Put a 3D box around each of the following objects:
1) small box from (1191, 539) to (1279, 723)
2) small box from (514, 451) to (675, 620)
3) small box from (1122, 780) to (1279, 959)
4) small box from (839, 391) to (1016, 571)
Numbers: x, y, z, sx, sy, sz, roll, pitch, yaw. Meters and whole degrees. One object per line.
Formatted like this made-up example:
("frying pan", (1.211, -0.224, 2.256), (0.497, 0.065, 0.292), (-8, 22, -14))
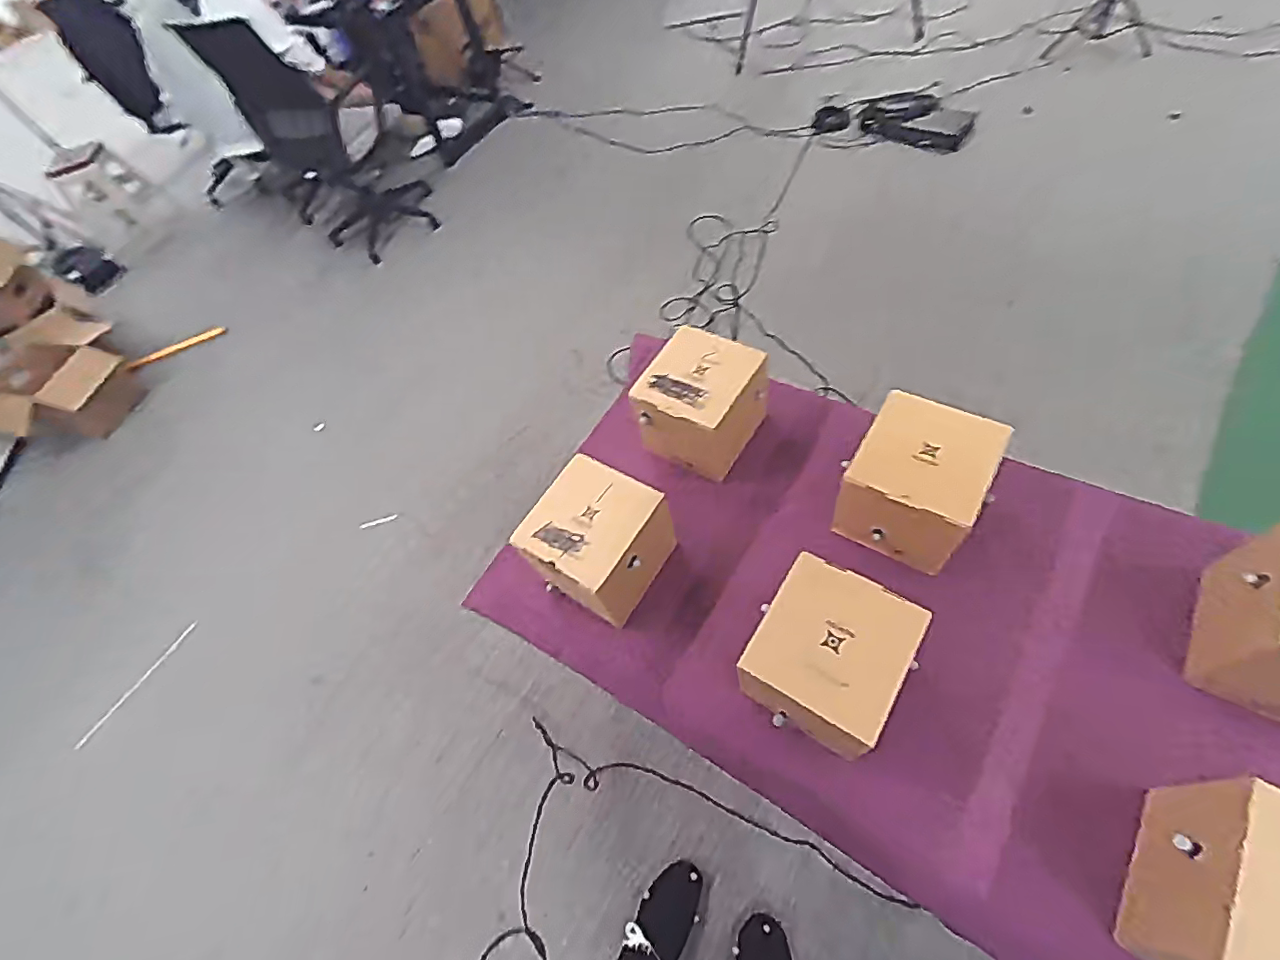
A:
("small box", (0.788, 0.180, 0.615), (0.168, 0.176, 0.179), (24, 67, 27))
("small box", (-0.058, 0.092, 0.850), (0.168, 0.176, 0.179), (27, 67, 24))
("small box", (0.607, 0.420, 0.507), (0.168, 0.176, 0.179), (27, 66, 27))
("small box", (0.414, 0.005, 0.807), (0.168, 0.176, 0.179), (27, 69, 24))
